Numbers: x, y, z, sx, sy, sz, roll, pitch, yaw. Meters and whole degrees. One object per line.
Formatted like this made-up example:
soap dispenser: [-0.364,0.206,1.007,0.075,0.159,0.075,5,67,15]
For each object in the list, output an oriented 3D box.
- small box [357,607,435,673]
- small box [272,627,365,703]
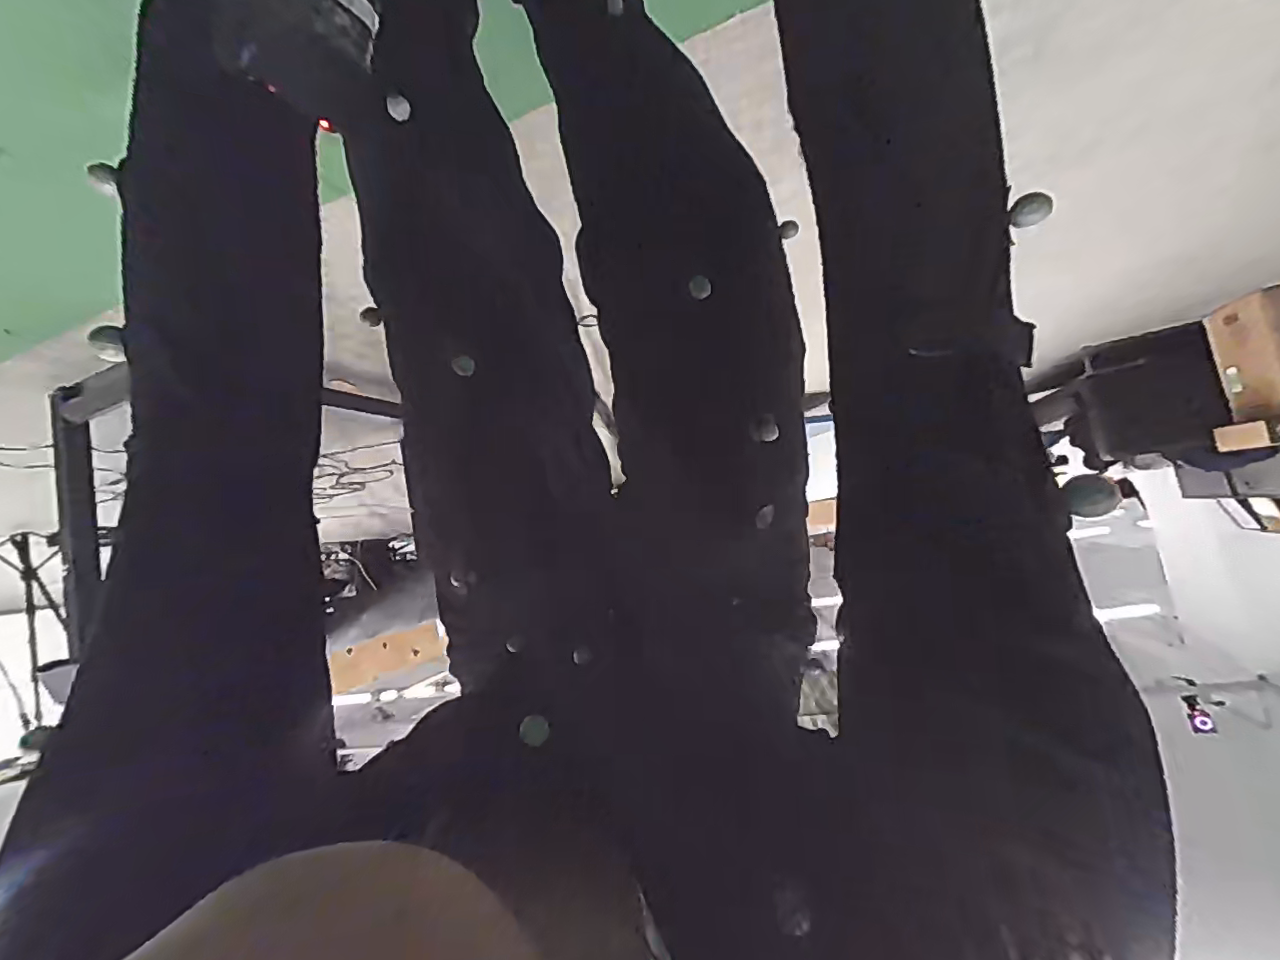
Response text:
small box: [-0.841,0.547,1.863,0.168,0.176,0.179,-13,174,16]
small box: [-0.950,0.539,1.595,0.179,0.176,0.168,-14,174,18]
